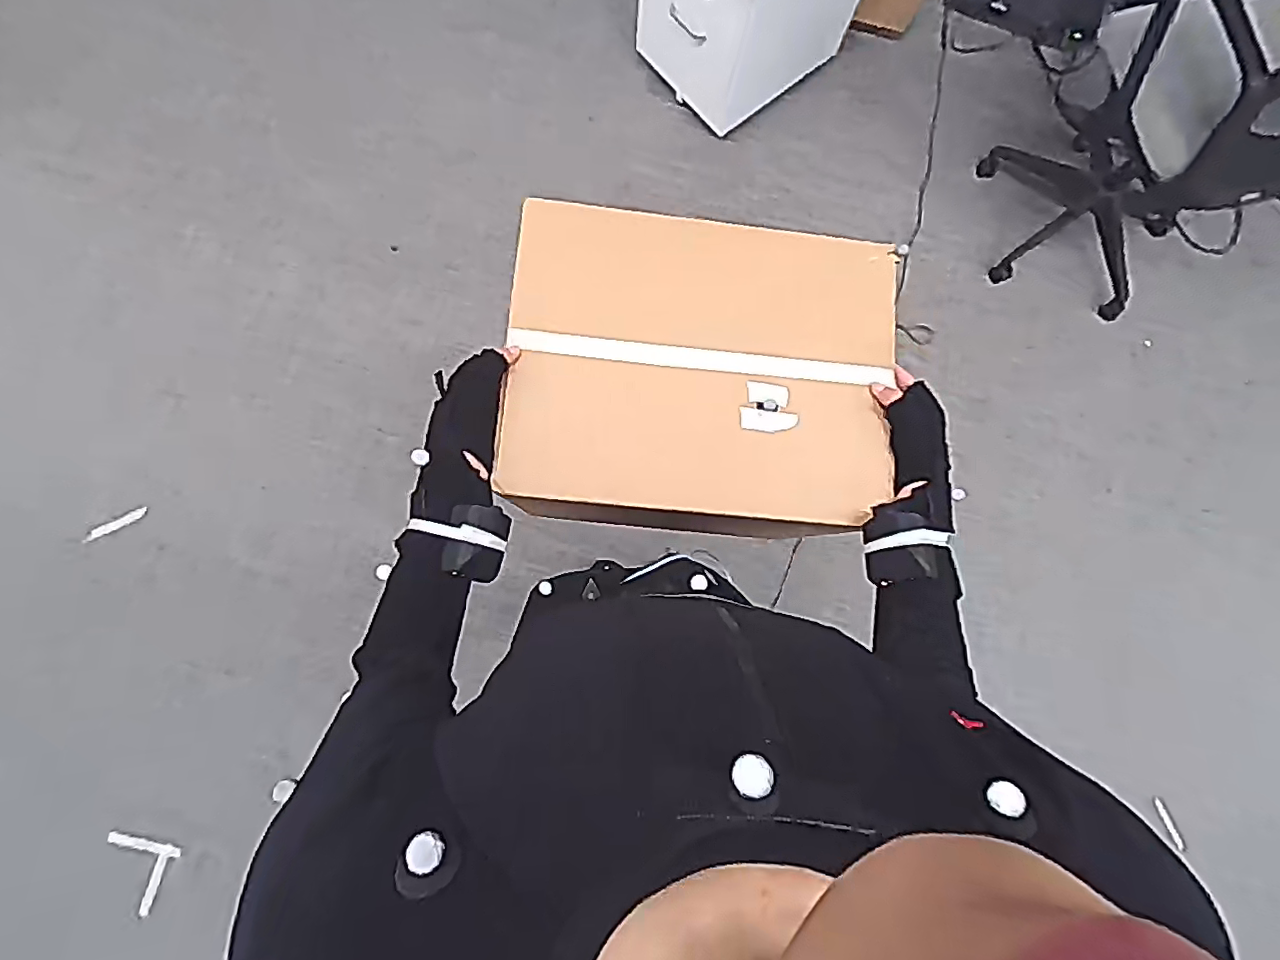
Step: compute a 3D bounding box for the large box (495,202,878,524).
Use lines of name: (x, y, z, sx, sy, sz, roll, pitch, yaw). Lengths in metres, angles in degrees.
large box: (0.044, -0.113, 0.718, 0.408, 0.320, 0.320, 5, 83, -5)
